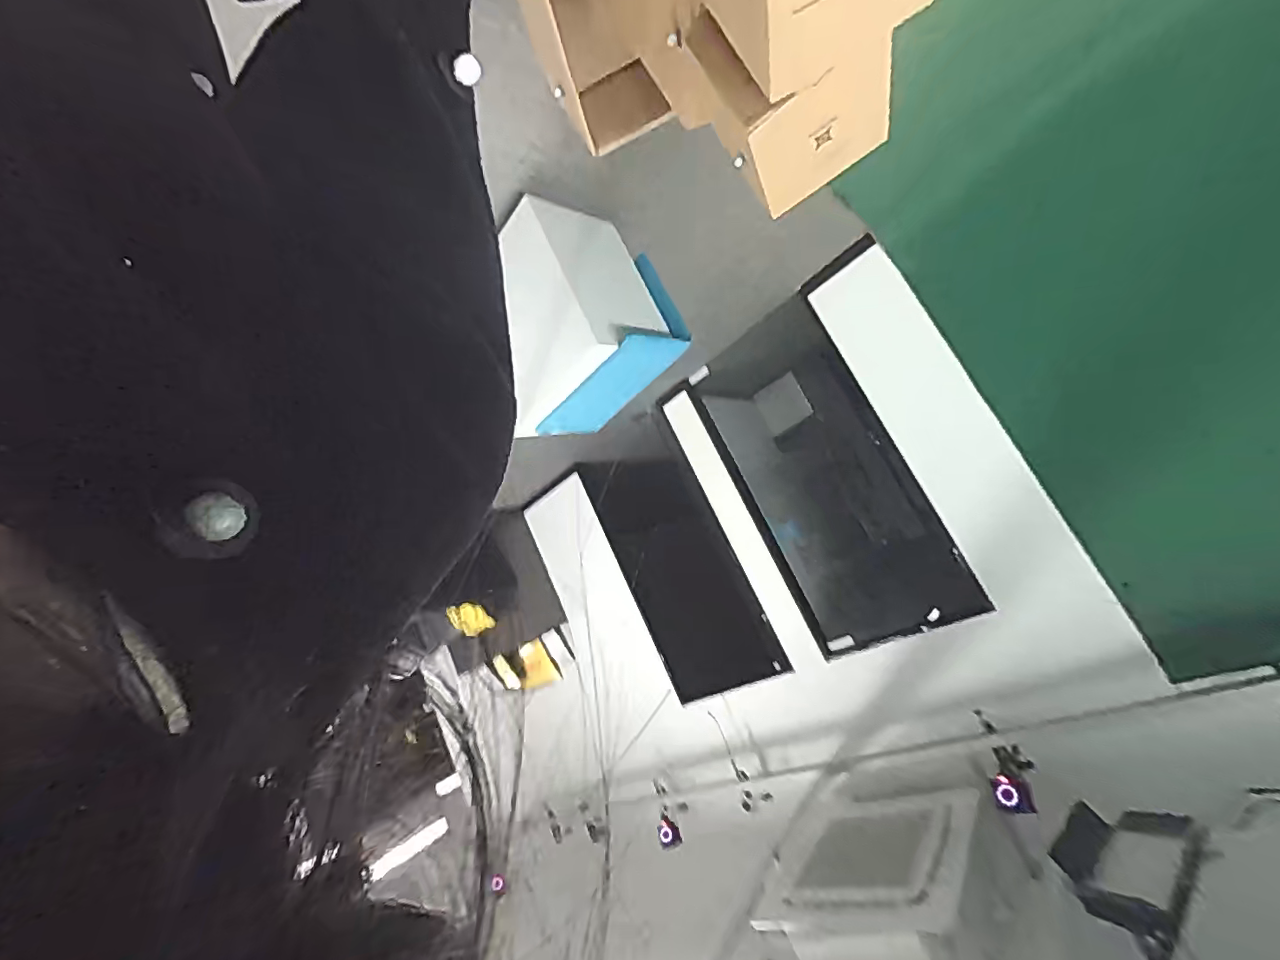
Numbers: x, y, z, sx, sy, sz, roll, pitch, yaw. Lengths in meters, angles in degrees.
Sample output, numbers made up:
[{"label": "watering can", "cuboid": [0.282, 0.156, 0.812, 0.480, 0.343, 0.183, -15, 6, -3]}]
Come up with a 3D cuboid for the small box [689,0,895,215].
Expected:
[{"label": "small box", "cuboid": [0.180, -0.474, 0.649, 0.168, 0.176, 0.179, -30, 164, 16]}]
